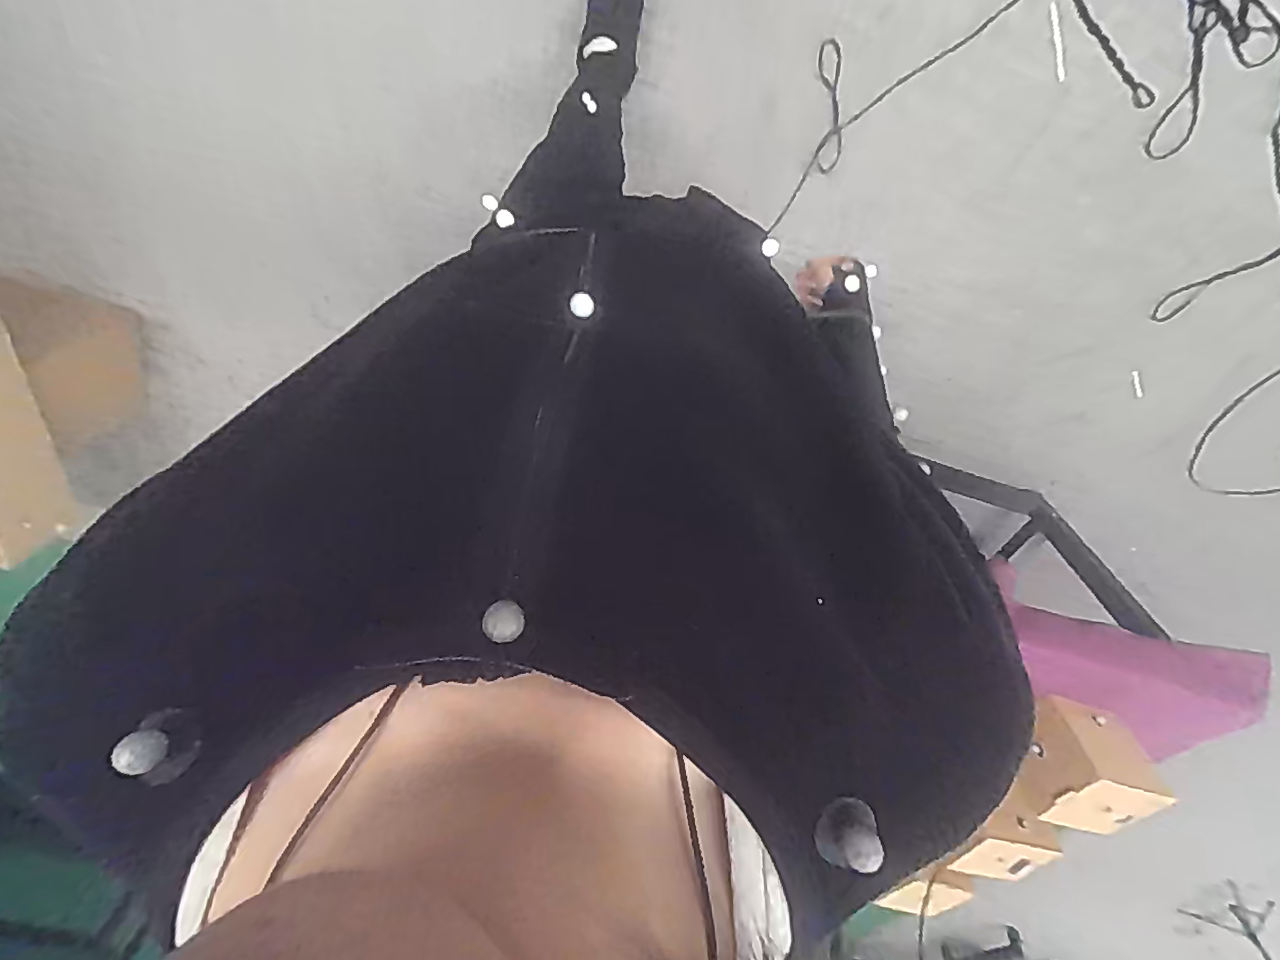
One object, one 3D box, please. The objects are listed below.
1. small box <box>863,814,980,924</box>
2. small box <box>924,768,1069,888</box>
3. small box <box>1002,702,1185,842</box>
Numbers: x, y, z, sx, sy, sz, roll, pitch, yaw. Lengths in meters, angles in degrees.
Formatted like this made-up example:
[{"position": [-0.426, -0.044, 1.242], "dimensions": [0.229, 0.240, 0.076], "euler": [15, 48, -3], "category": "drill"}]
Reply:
[{"position": [0.685, 0.963, 1.343], "dimensions": [0.168, 0.176, 0.179], "euler": [20, 124, -9], "category": "small box"}, {"position": [0.776, 0.767, 1.199], "dimensions": [0.179, 0.176, 0.168], "euler": [14, 124, -5], "category": "small box"}, {"position": [0.860, 0.560, 1.049], "dimensions": [0.179, 0.176, 0.168], "euler": [18, 125, -8], "category": "small box"}]
